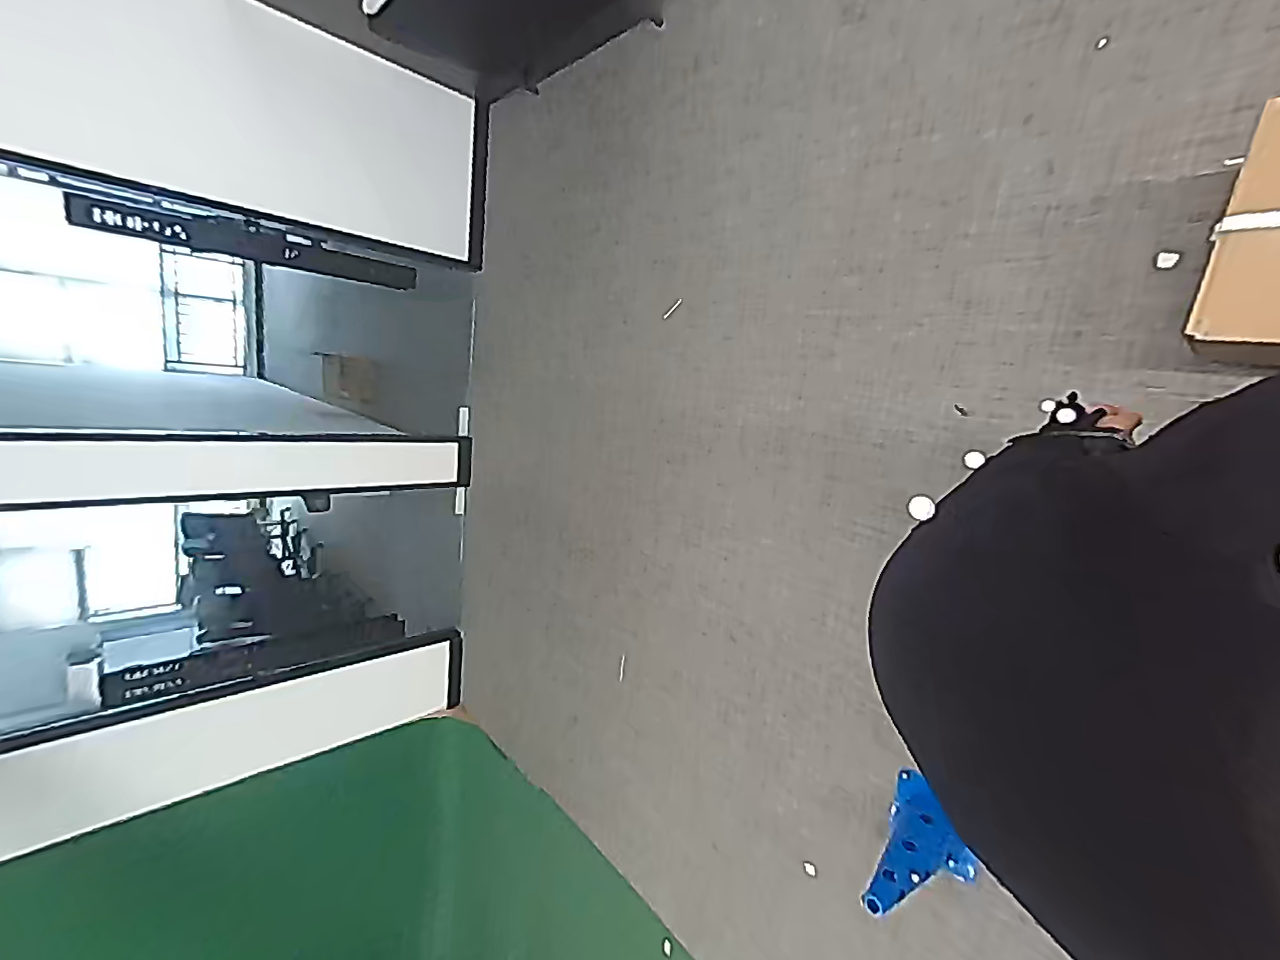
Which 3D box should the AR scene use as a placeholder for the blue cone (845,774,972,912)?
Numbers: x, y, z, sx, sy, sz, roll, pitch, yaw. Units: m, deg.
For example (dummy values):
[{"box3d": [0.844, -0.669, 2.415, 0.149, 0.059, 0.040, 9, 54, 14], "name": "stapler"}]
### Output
[{"box3d": [0.575, 0.850, 1.209, 0.192, 0.380, 0.193, 18, 105, 46], "name": "blue cone"}]
